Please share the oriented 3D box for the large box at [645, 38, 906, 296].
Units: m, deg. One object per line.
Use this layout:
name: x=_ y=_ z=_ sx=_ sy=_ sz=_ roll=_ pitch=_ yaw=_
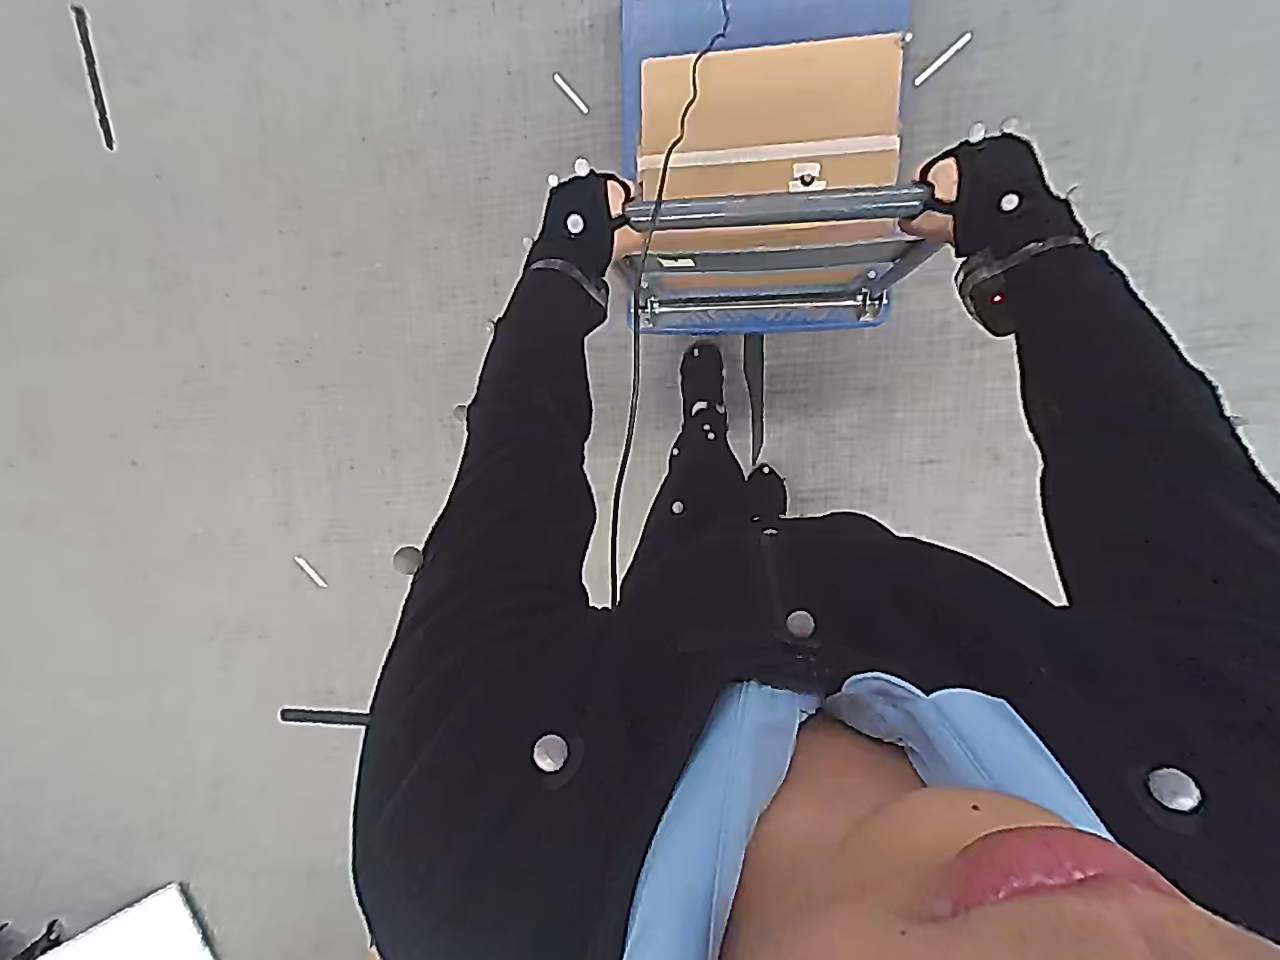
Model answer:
large box: x=0.227 y=-0.538 z=1.010 sx=0.408 sy=0.320 sz=0.320 roll=1 pitch=101 yaw=8
